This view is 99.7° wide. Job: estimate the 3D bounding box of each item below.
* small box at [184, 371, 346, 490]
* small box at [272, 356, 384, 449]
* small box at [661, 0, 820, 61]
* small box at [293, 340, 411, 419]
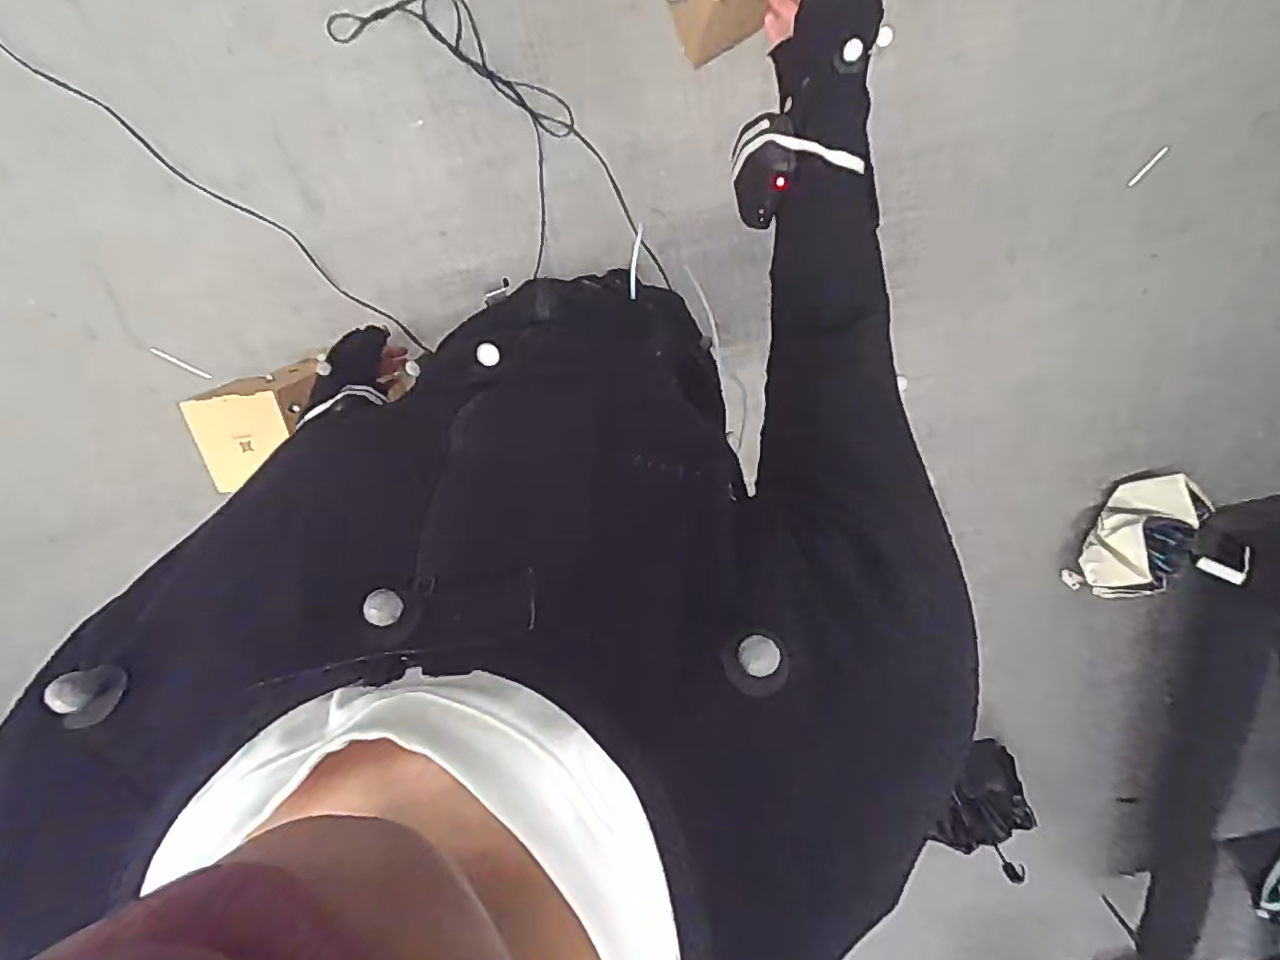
[{"bbox_3d":[-0.697,-0.099,1.034,0.168,0.176,0.179,-6,114,0],"label":"small box"},{"bbox_3d":[-0.695,-0.165,1.182,0.168,0.176,0.179,-10,115,2],"label":"small box"},{"bbox_3d":[0.093,-0.511,0.472,0.168,0.176,0.179,-26,110,8],"label":"small box"},{"bbox_3d":[-0.699,-0.238,1.332,0.168,0.176,0.179,-12,113,6],"label":"small box"}]
